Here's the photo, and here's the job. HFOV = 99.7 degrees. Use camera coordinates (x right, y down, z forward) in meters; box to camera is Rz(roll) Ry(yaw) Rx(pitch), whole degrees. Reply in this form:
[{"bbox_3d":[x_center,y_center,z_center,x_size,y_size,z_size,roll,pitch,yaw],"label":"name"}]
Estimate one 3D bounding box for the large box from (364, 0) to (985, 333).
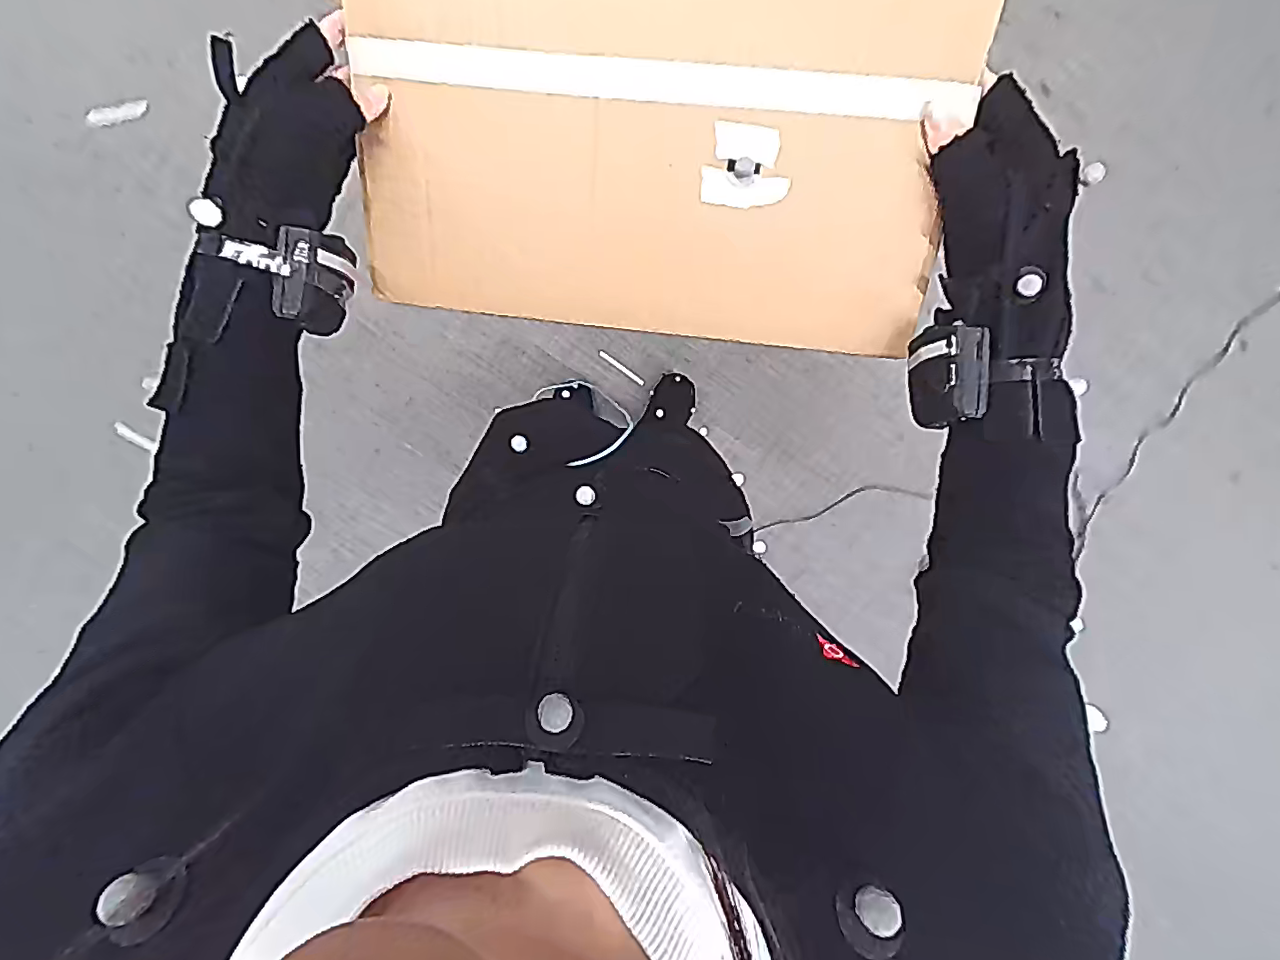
[{"bbox_3d":[0.022,-0.323,0.498,0.408,0.320,0.320,6,113,3],"label":"large box"}]
